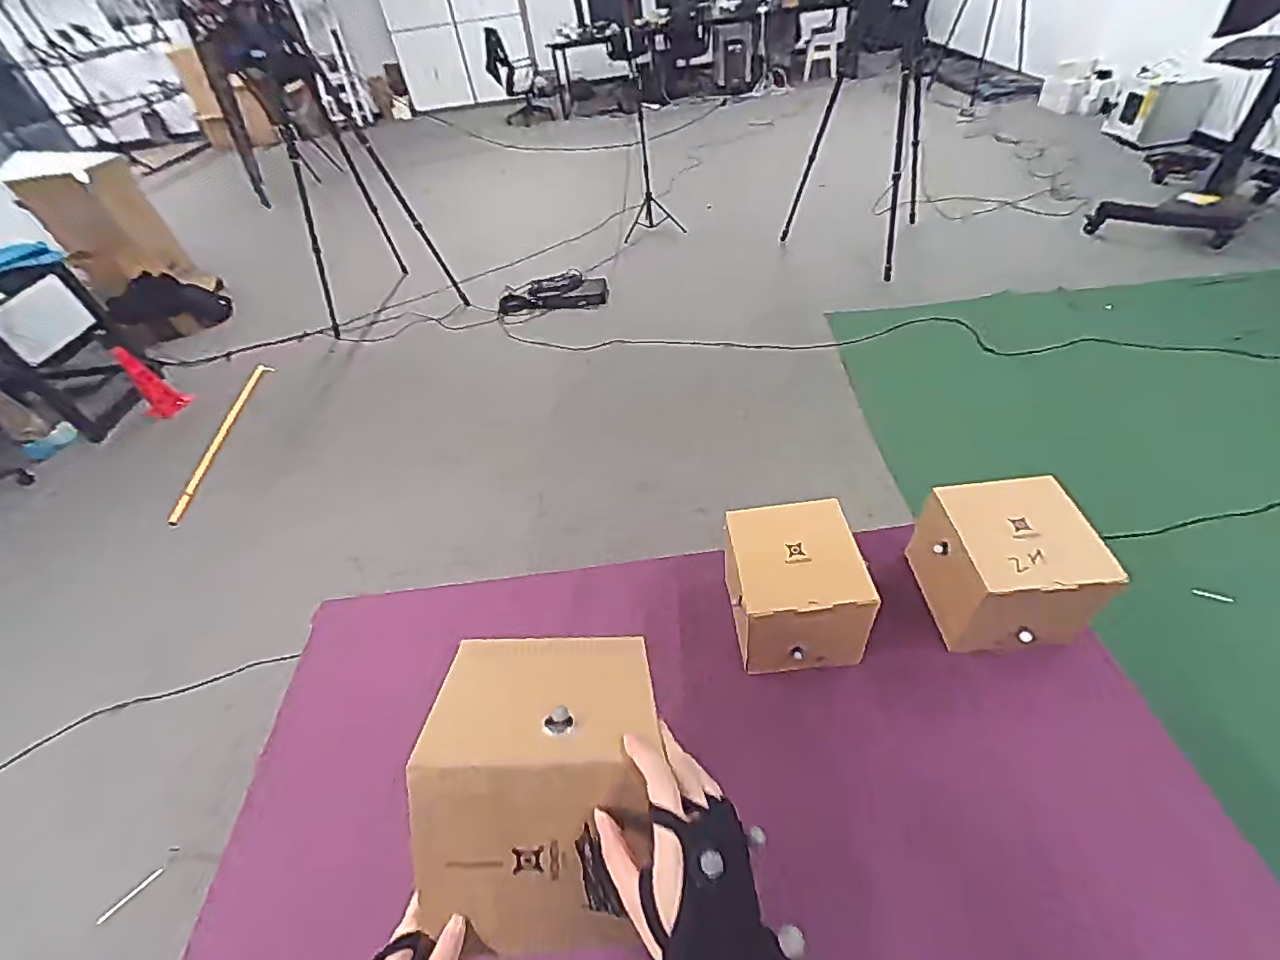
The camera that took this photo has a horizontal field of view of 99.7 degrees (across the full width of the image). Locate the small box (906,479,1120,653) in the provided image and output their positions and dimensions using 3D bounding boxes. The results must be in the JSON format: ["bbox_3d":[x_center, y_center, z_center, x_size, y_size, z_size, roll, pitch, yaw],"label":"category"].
[{"bbox_3d":[0.503,0.123,0.767,0.168,0.176,0.179,-6,47,5],"label":"small box"}]

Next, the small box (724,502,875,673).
[{"bbox_3d":[0.216,0.158,0.790,0.168,0.176,0.179,-8,46,3],"label":"small box"}]

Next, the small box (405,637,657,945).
[{"bbox_3d":[-0.083,0.250,0.470,0.179,0.168,0.176,1,12,-4],"label":"small box"}]
